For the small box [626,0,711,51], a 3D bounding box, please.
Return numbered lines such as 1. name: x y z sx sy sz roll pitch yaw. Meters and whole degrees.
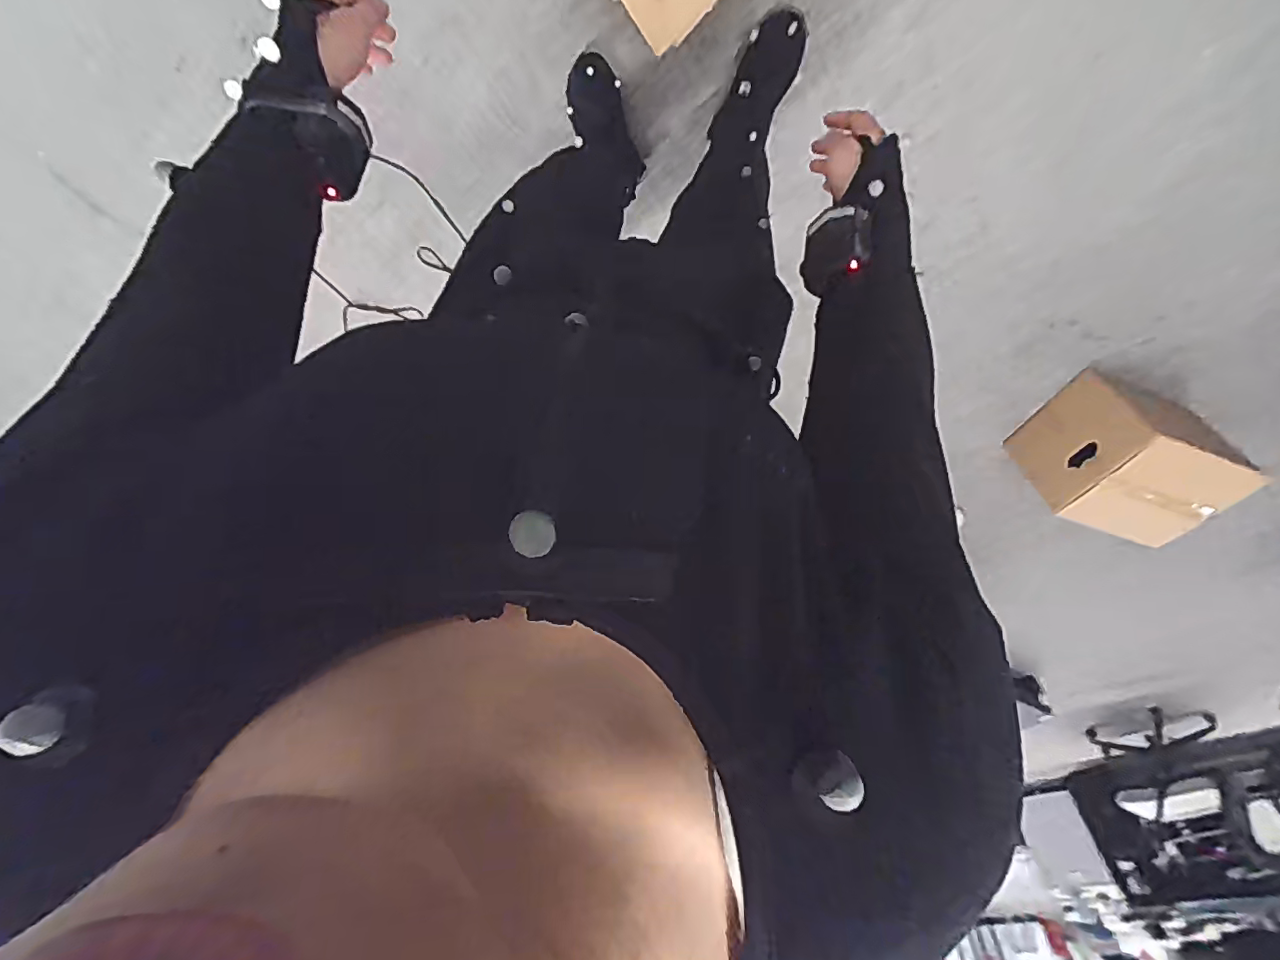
1. small box: 0.044 -0.774 0.776 0.179 0.176 0.168 -30 126 28
